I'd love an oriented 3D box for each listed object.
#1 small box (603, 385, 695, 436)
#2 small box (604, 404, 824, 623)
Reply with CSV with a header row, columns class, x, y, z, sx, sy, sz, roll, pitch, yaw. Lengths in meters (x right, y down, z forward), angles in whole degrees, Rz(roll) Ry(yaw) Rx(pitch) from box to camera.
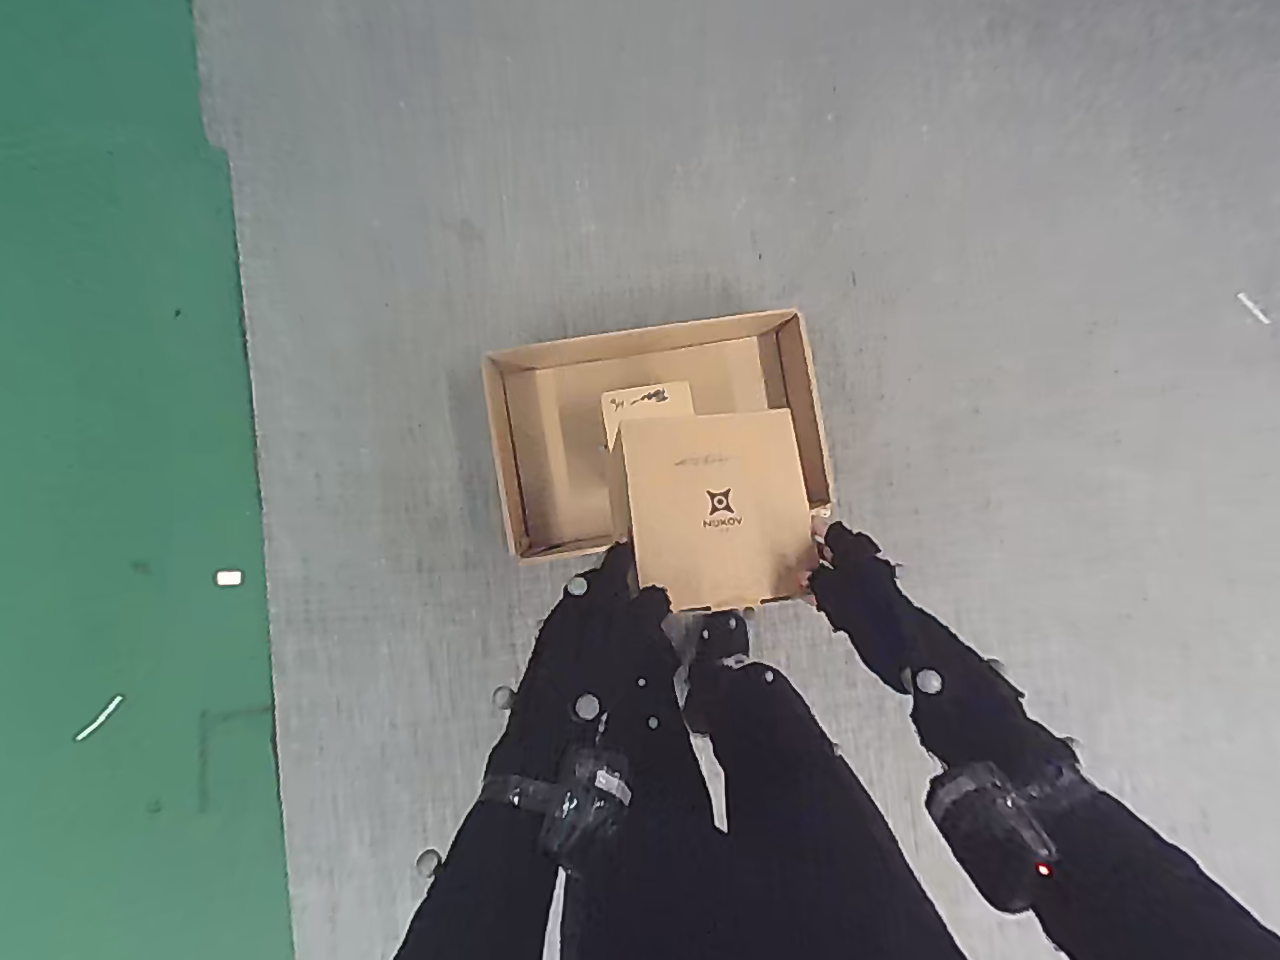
class,x,y,z,sx,sy,sz,roll,pitch,yaw
small box,0.021,-0.078,1.068,0.168,0.176,0.179,-9,89,-3
small box,0.059,0.041,0.555,0.168,0.176,0.179,-10,78,-9
